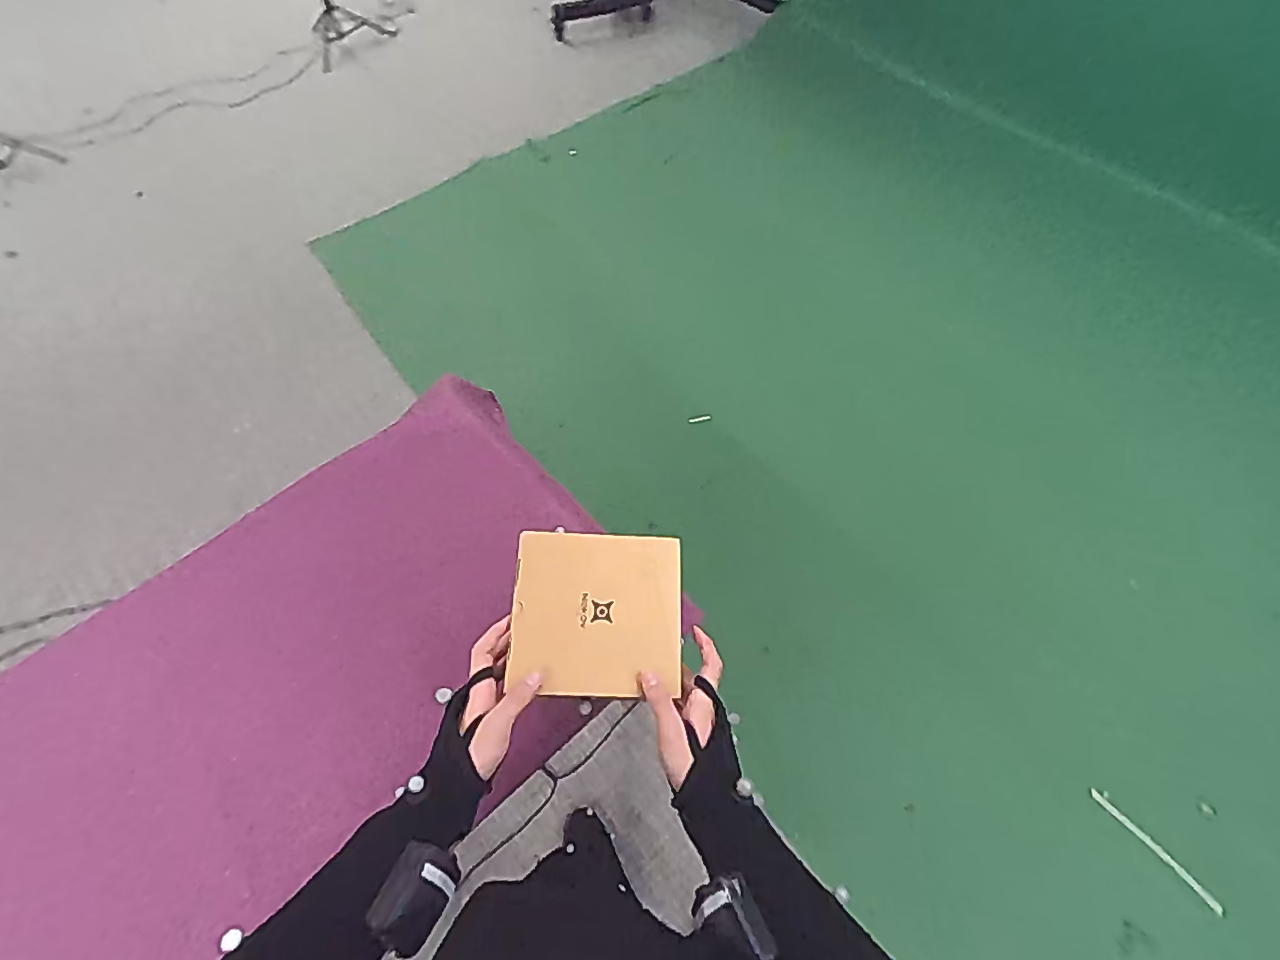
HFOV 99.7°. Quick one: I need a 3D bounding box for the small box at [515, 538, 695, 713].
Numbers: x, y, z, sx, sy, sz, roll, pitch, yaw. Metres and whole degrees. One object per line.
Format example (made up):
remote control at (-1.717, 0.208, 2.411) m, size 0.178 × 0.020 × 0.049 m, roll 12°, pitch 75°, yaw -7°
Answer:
small box at (-0.038, 0.174, 0.625) m, size 0.179 × 0.176 × 0.168 m, roll 4°, pitch 67°, yaw -3°
